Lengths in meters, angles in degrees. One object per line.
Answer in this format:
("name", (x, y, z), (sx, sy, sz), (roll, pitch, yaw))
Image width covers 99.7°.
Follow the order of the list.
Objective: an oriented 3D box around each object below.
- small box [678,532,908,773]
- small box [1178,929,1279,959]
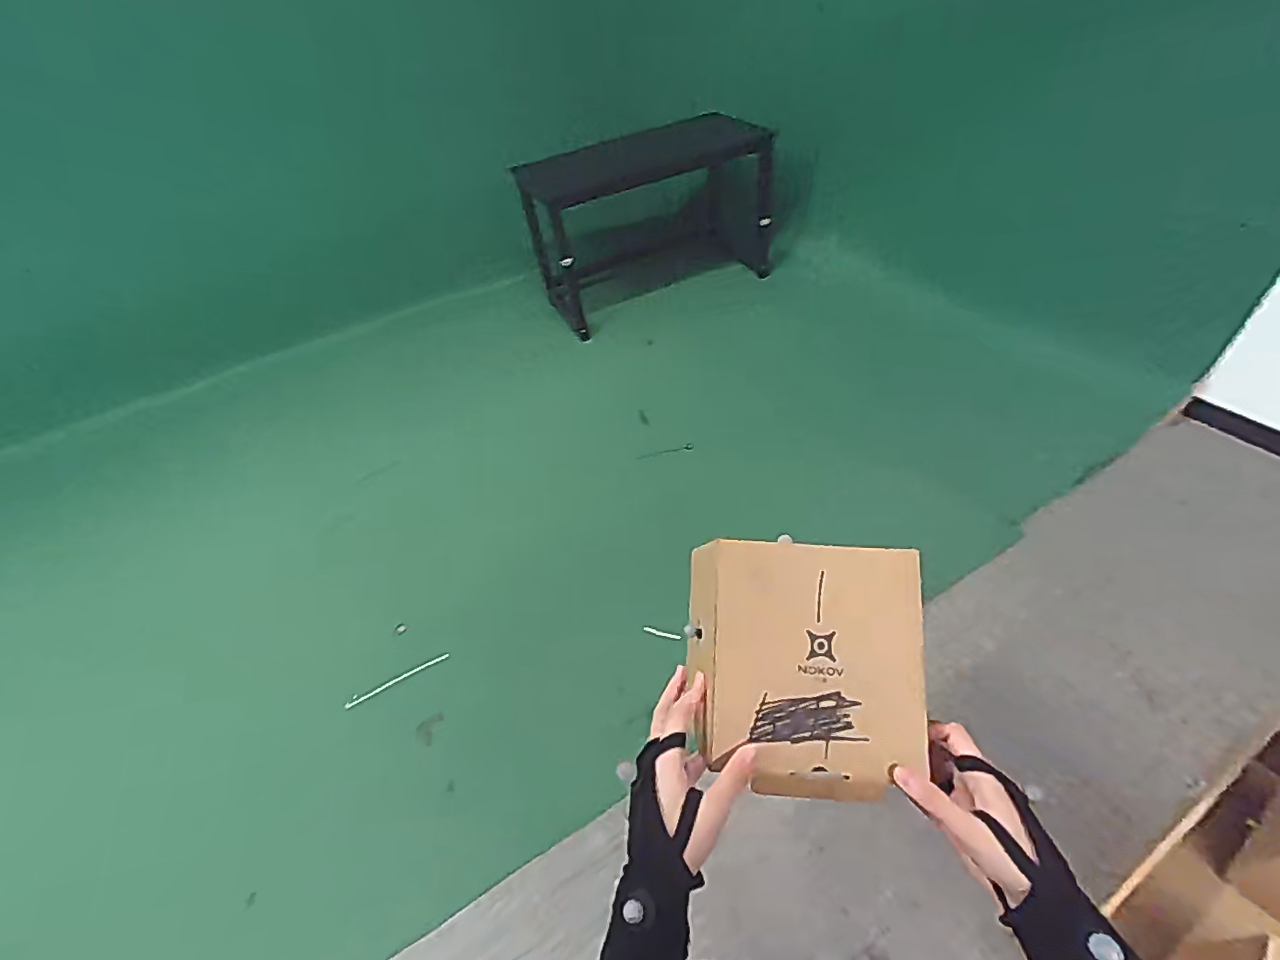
("small box", (0.127, 0.148, 0.505), (0.168, 0.176, 0.179), (4, 79, -2))
("small box", (0.763, 0.688, 0.636), (0.179, 0.176, 0.168), (-38, 52, -24))
